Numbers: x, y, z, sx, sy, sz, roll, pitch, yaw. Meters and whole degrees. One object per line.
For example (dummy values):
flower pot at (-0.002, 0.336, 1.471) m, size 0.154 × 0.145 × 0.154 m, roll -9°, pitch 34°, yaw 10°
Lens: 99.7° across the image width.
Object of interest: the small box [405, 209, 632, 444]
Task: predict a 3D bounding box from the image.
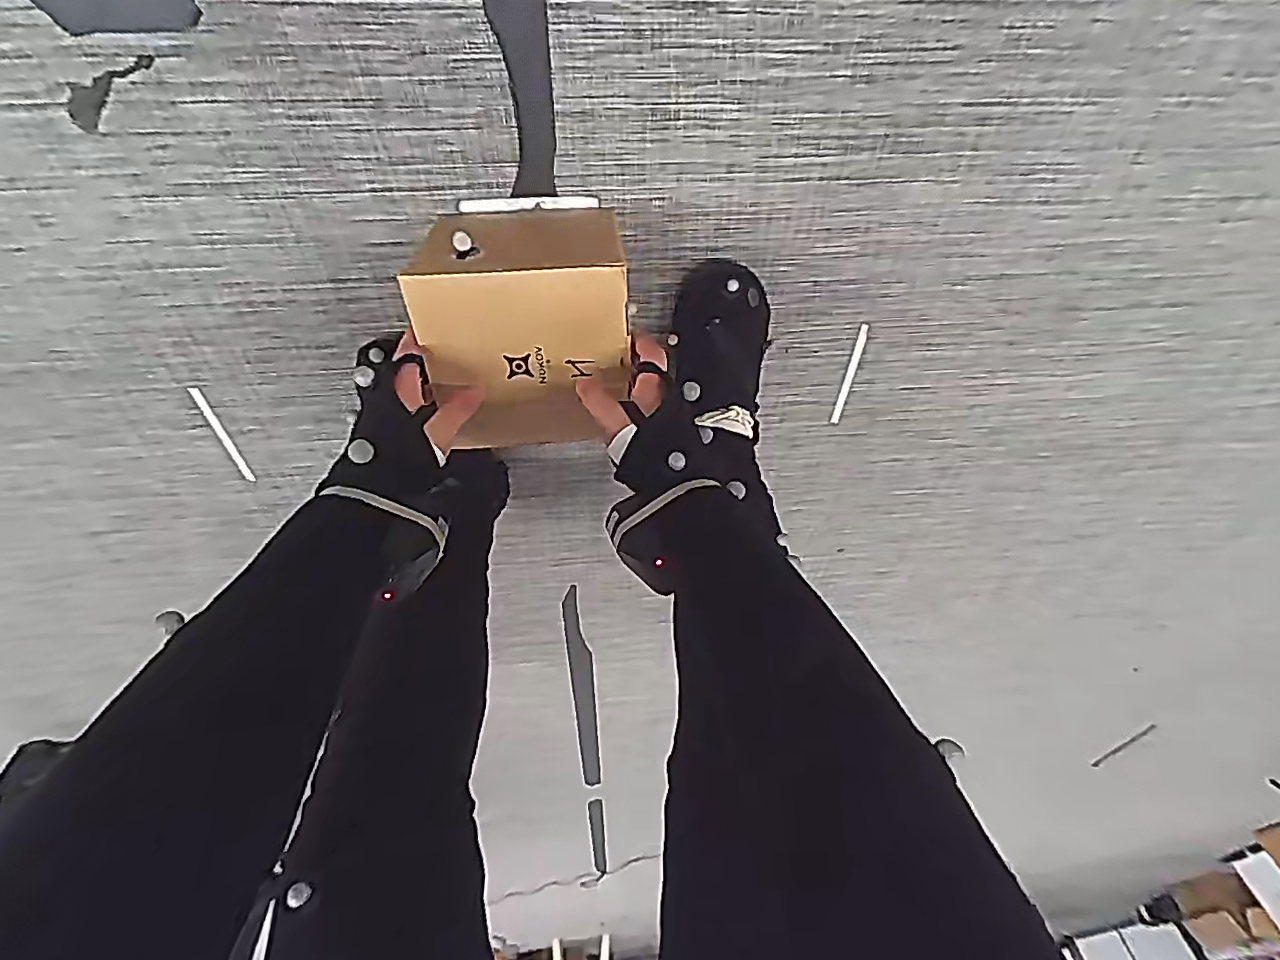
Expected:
small box at (-0.101, -0.153, 0.528) m, size 0.179 × 0.176 × 0.168 m, roll -5°, pitch 132°, yaw -4°
